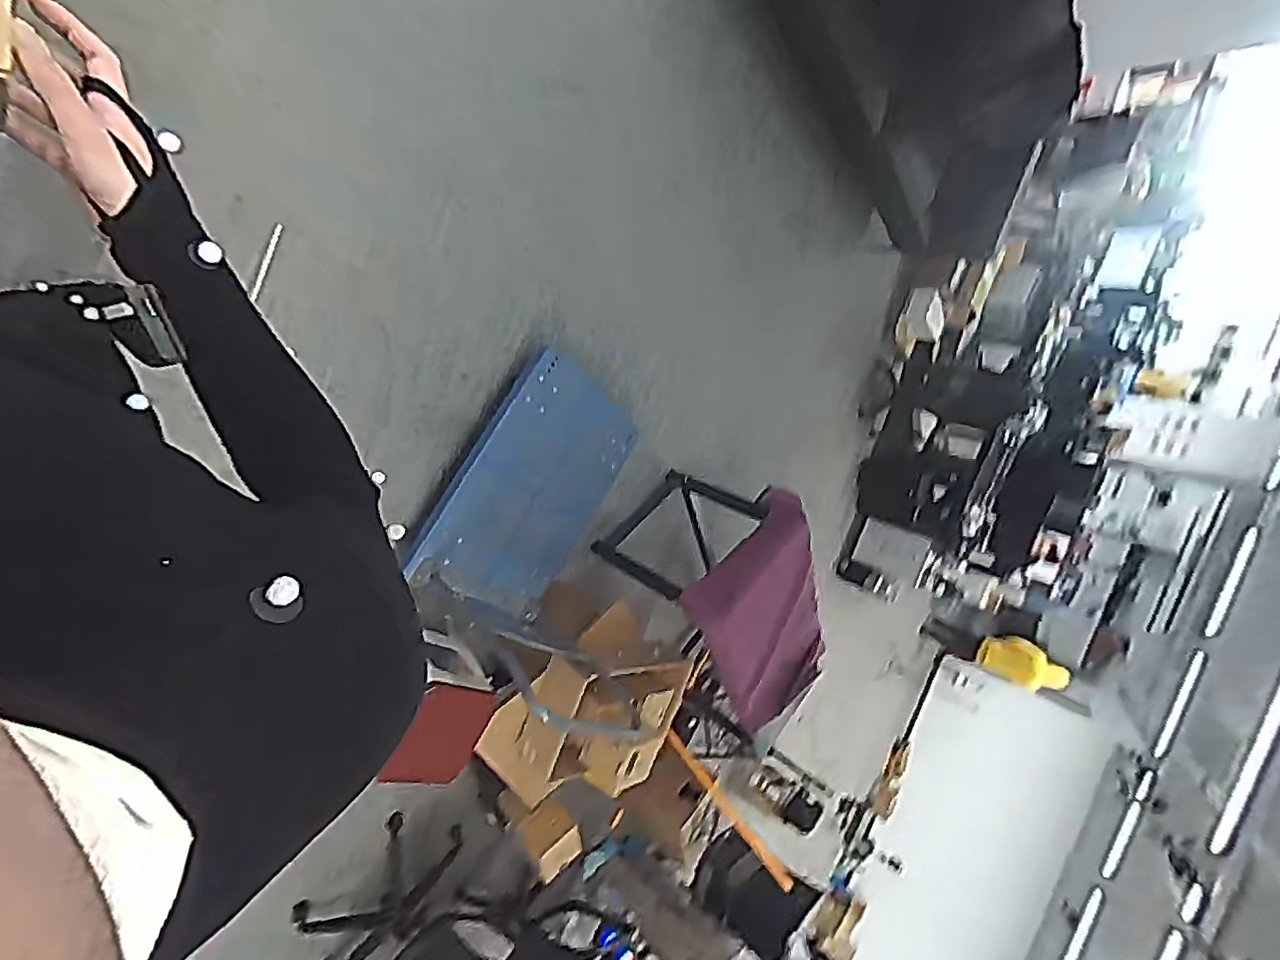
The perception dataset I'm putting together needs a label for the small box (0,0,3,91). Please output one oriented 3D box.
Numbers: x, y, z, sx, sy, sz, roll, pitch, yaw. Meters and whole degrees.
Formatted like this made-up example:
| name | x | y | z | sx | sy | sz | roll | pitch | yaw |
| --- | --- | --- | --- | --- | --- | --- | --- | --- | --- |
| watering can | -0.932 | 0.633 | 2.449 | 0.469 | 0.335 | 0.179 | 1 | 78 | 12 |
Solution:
| name | x | y | z | sx | sy | sz | roll | pitch | yaw |
| --- | --- | --- | --- | --- | --- | --- | --- | --- | --- |
| small box | -0.473 | -0.331 | 0.290 | 0.168 | 0.176 | 0.179 | -2 | 104 | -50 |
